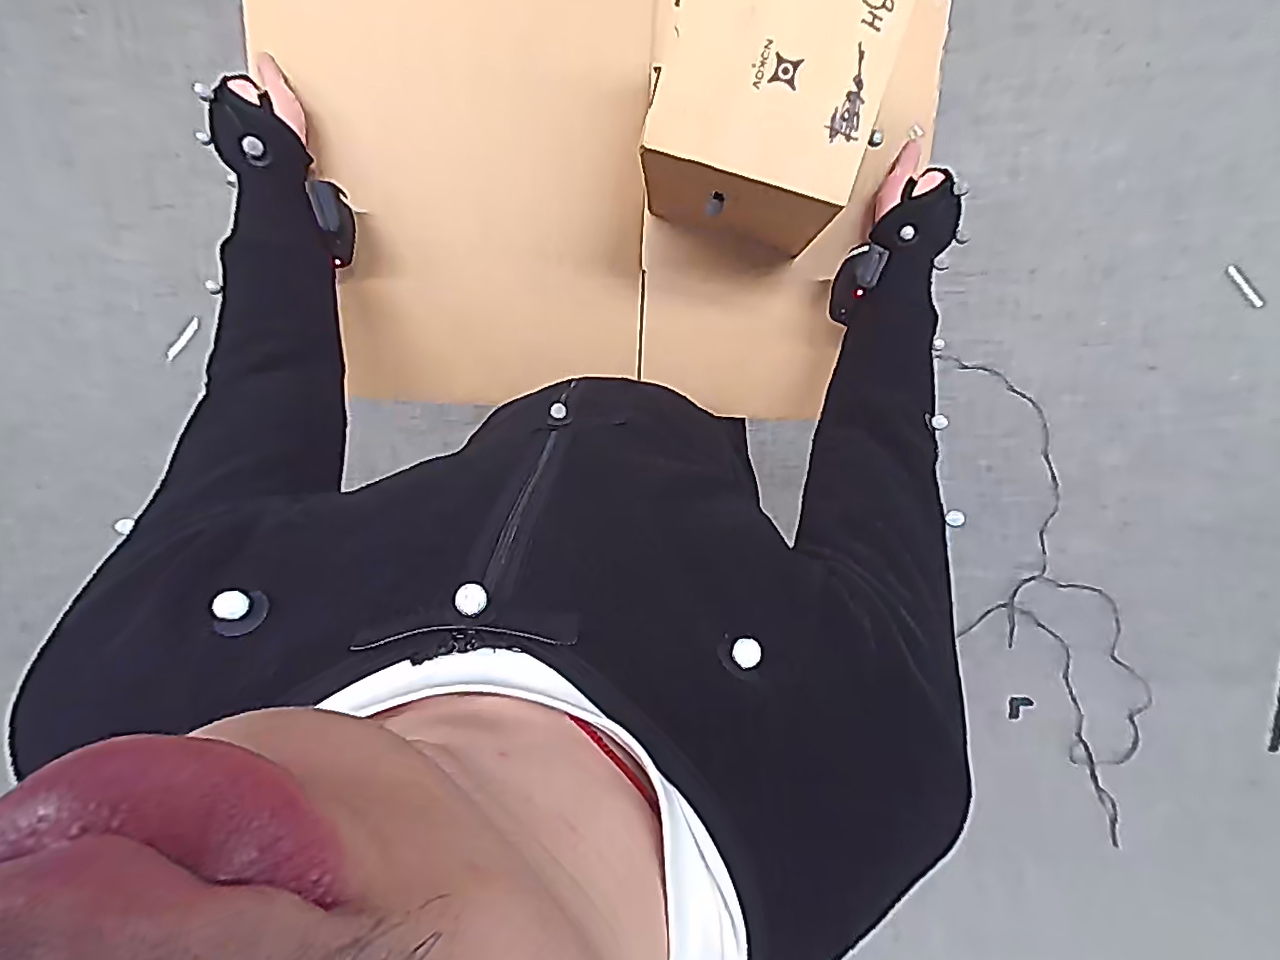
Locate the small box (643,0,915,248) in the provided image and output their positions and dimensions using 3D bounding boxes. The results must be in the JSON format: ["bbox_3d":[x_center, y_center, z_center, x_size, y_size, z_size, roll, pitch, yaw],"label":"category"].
[{"bbox_3d":[0.113,-0.338,0.506,0.179,0.176,0.168,17,100,1],"label":"small box"}]
